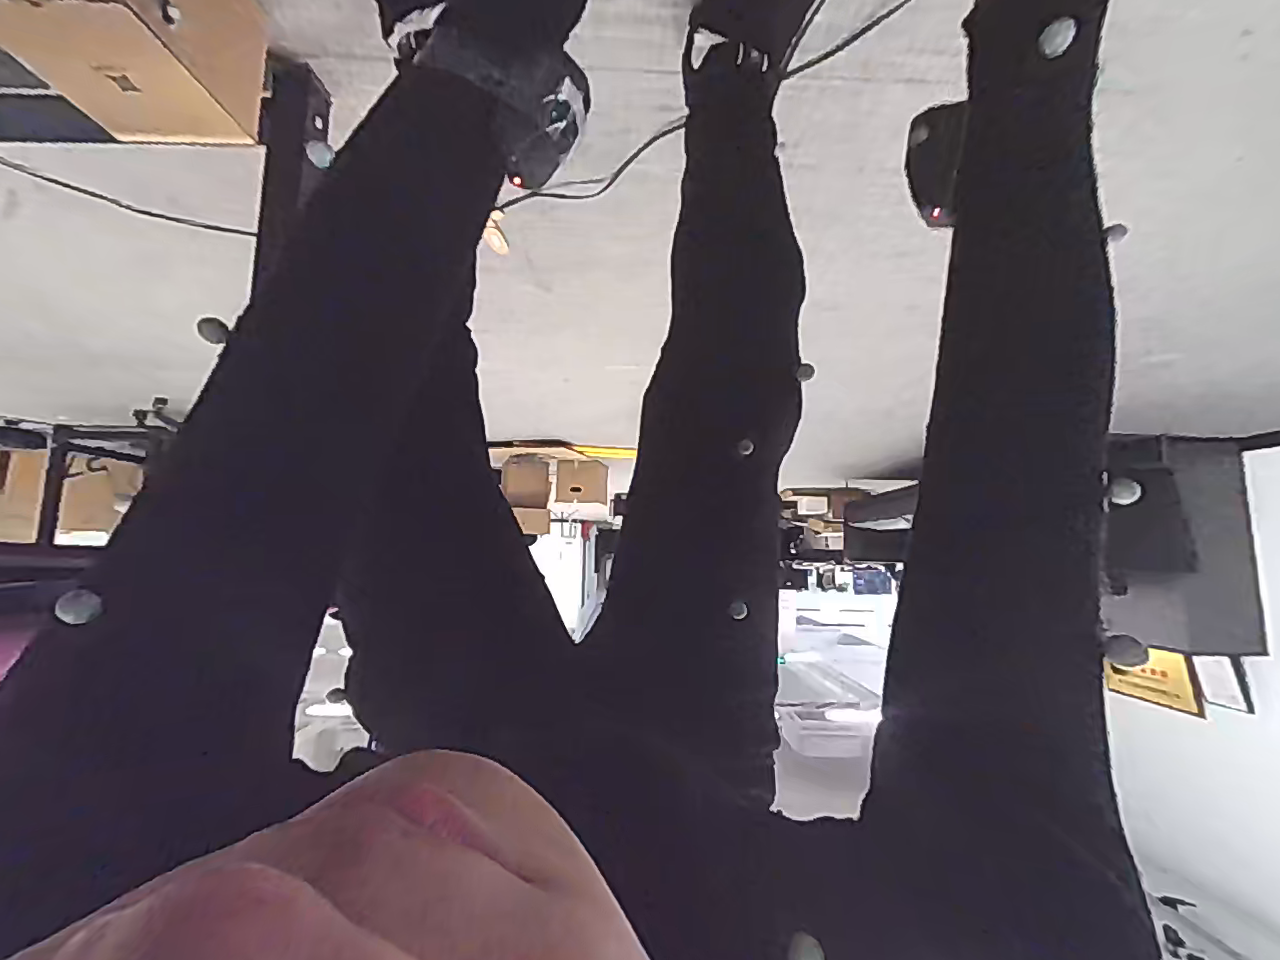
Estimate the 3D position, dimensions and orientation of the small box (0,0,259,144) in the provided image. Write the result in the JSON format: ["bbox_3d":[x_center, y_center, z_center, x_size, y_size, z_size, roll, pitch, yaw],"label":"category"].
[{"bbox_3d":[-0.536,-0.489,0.560,0.168,0.176,0.179,1,172,0],"label":"small box"}]
